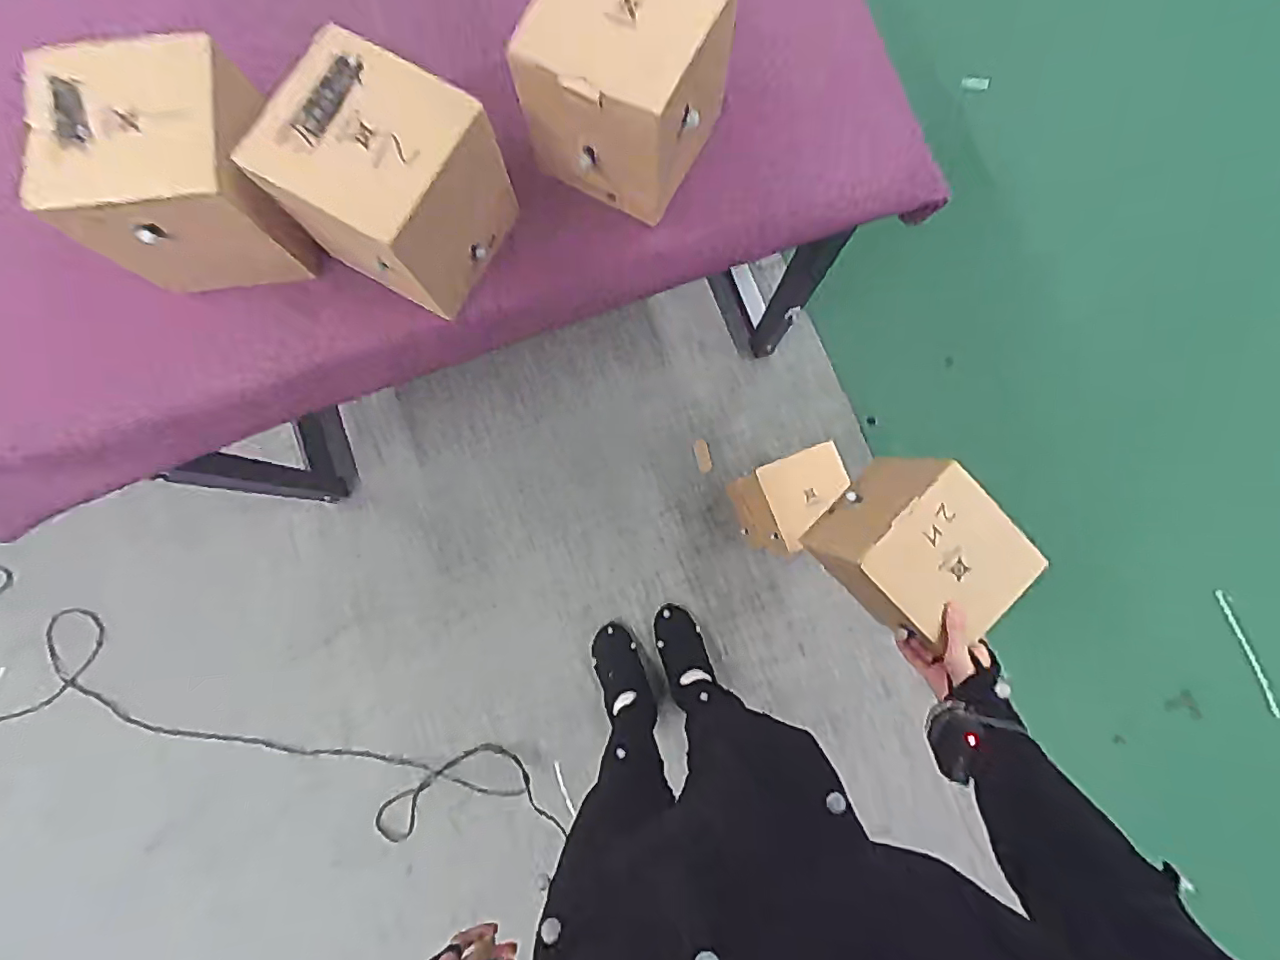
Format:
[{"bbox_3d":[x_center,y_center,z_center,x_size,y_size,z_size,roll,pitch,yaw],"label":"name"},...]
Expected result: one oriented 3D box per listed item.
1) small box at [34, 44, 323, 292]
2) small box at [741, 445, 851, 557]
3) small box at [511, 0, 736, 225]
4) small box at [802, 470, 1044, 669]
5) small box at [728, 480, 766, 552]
[{"bbox_3d":[-0.482,-0.322,0.590,0.179,0.176,0.168,-7,83,-2],"label":"small box"},{"bbox_3d":[0.324,0.049,1.114,0.168,0.176,0.179,-21,85,-3],"label":"small box"},{"bbox_3d":[-0.012,-0.427,0.602,0.168,0.176,0.179,28,84,4],"label":"small box"},{"bbox_3d":[0.347,0.099,0.694,0.168,0.176,0.179,-45,96,-4],"label":"small box"},{"bbox_3d":[0.317,0.069,1.275,0.179,0.176,0.168,-18,83,-3],"label":"small box"}]
